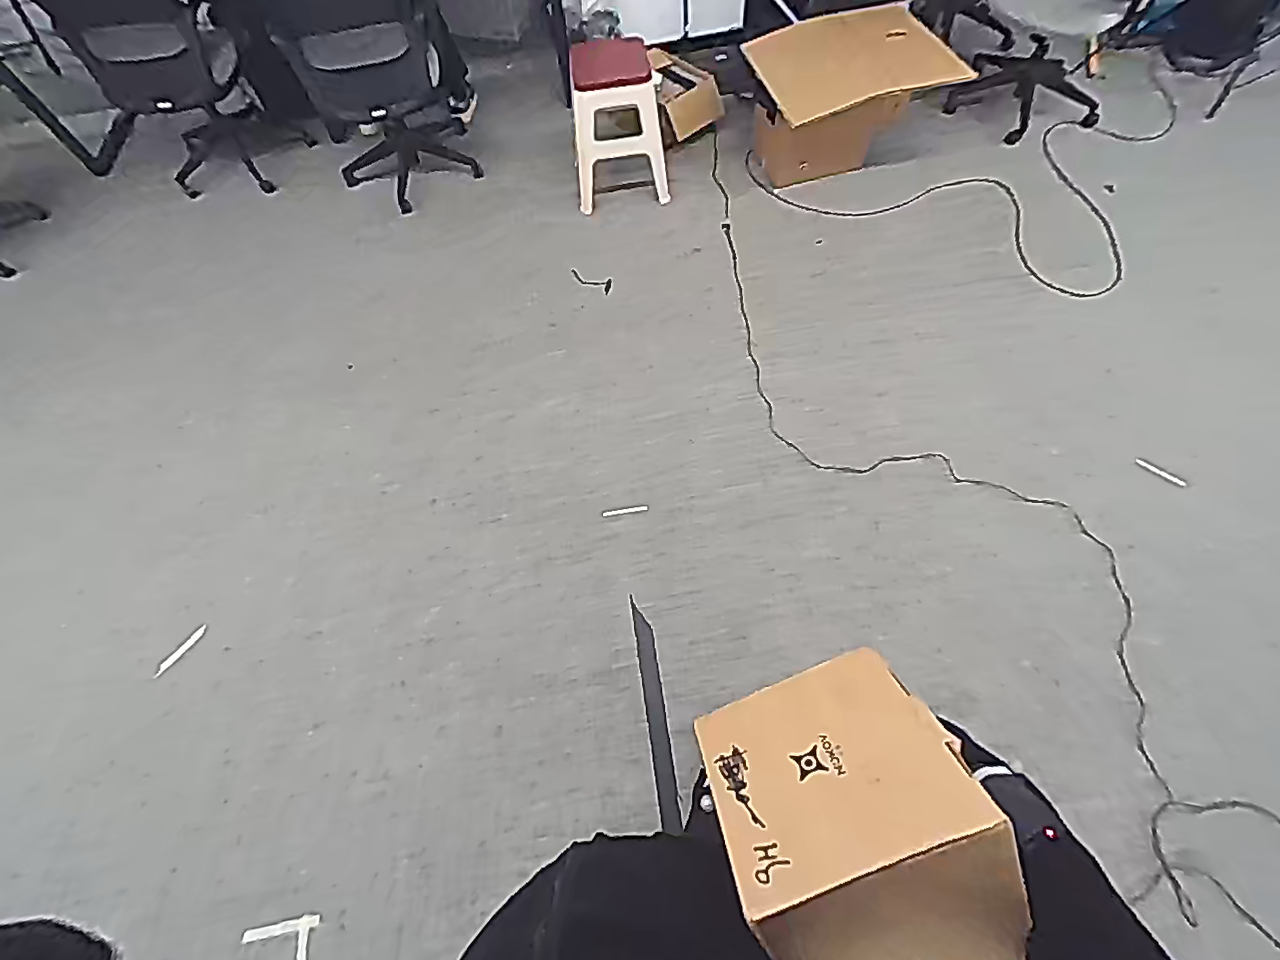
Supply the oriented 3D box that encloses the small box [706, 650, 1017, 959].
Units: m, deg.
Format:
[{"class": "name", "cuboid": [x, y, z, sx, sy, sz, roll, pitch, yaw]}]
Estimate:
[{"class": "small box", "cuboid": [0.177, 0.284, 0.451, 0.179, 0.176, 0.168, -24, 22, 3]}]
